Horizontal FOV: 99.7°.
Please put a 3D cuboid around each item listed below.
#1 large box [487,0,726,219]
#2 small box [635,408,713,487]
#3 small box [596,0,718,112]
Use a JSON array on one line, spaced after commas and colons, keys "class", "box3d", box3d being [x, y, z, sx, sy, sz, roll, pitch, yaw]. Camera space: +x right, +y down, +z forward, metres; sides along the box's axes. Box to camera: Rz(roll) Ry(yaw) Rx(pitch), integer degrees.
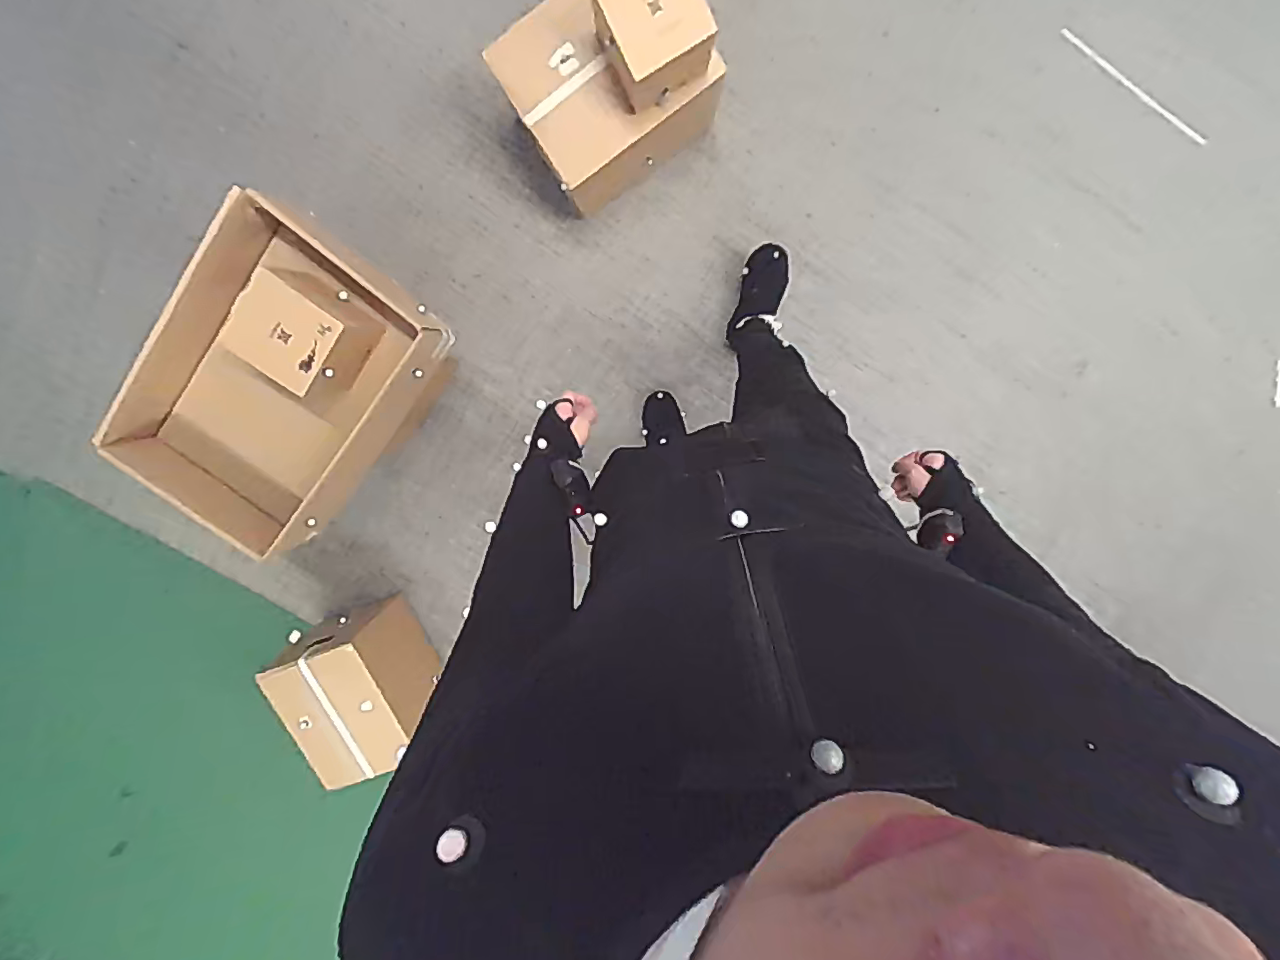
[{"class": "large box", "box3d": [-0.065, -0.883, 1.244, 0.408, 0.320, 0.320, -33, 101, 10]}, {"class": "small box", "box3d": [0.096, -0.097, 1.535, 0.179, 0.176, 0.168, 28, 101, 3]}, {"class": "small box", "box3d": [0.026, -0.834, 1.001, 0.168, 0.176, 0.179, -27, 105, 8]}]
